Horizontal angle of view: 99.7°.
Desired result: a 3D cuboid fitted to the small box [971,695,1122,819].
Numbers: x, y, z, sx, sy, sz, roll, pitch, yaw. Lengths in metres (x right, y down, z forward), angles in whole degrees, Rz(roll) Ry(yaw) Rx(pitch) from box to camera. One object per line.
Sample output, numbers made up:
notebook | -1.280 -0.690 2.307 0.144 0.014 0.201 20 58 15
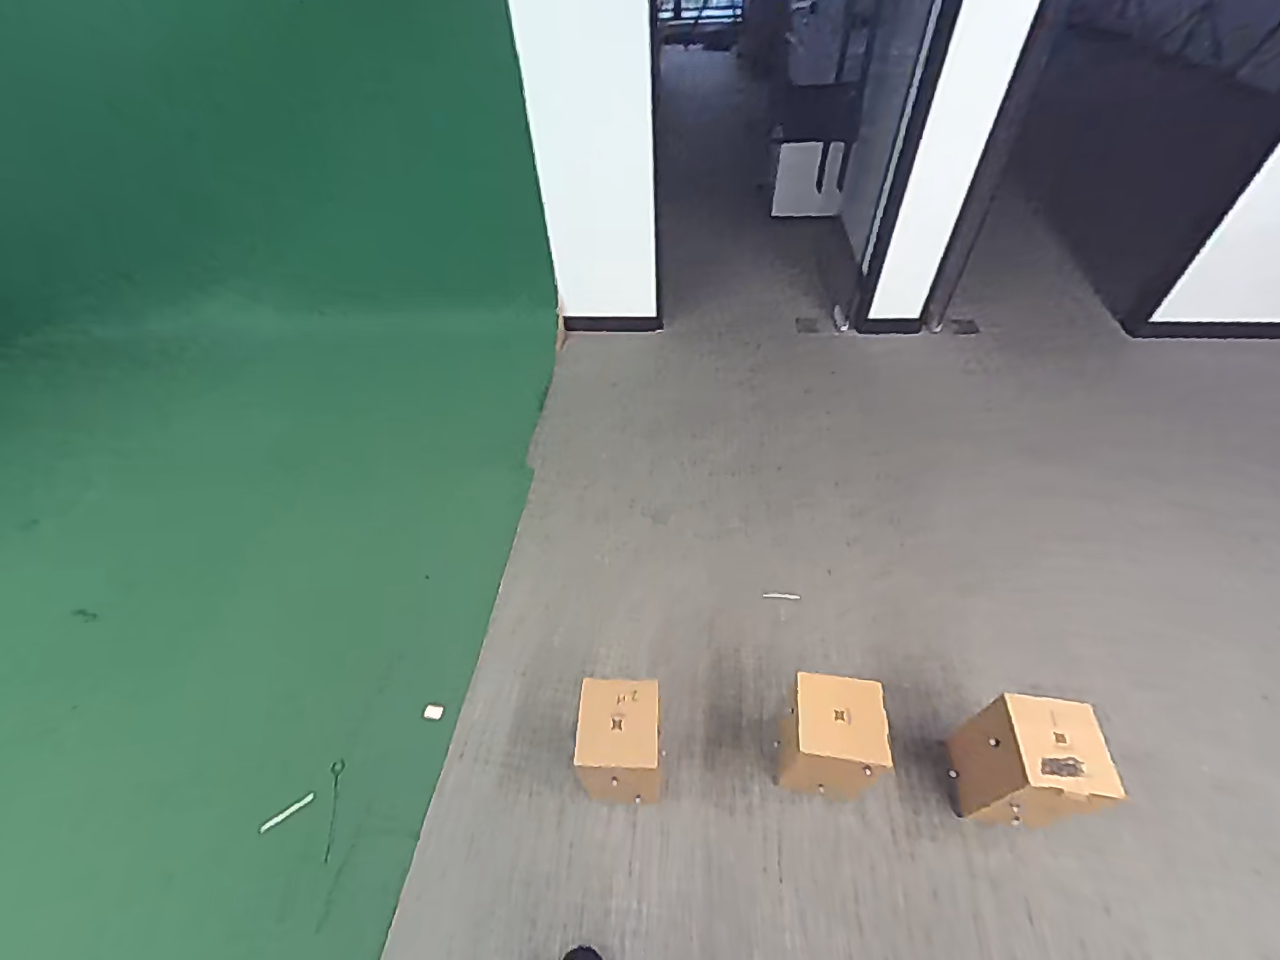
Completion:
small box | 0.809 0.567 1.101 0.168 0.176 0.179 5 47 8

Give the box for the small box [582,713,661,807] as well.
small box | -0.036 0.663 1.289 0.168 0.176 0.179 2 47 4

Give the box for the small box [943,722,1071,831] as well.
small box | 0.819 0.675 1.226 0.168 0.176 0.179 4 49 7

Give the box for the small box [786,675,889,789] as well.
small box | 0.408 0.539 1.153 0.179 0.176 0.168 5 48 8

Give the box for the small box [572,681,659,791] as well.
small box | -0.045 0.554 1.165 0.168 0.176 0.179 1 48 3
